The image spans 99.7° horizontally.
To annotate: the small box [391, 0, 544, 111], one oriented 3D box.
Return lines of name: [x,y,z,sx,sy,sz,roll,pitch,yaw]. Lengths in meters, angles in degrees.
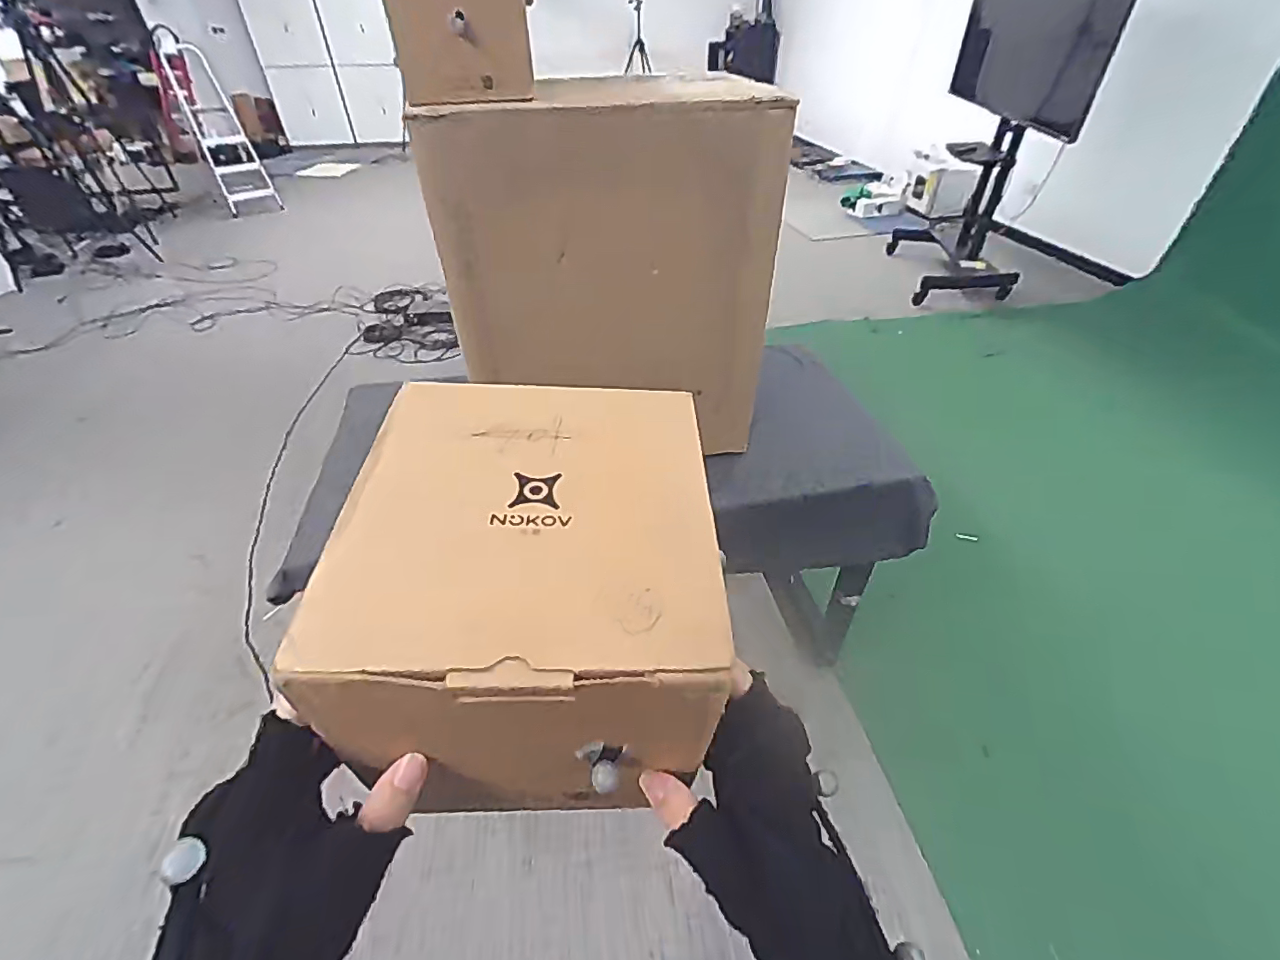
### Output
small box: [-0.221,-0.597,0.711,0.168,0.176,0.179,-7,43,-7]

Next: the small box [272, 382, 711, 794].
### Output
small box: [-0.059,0.065,0.313,0.168,0.176,0.179,3,44,-4]
